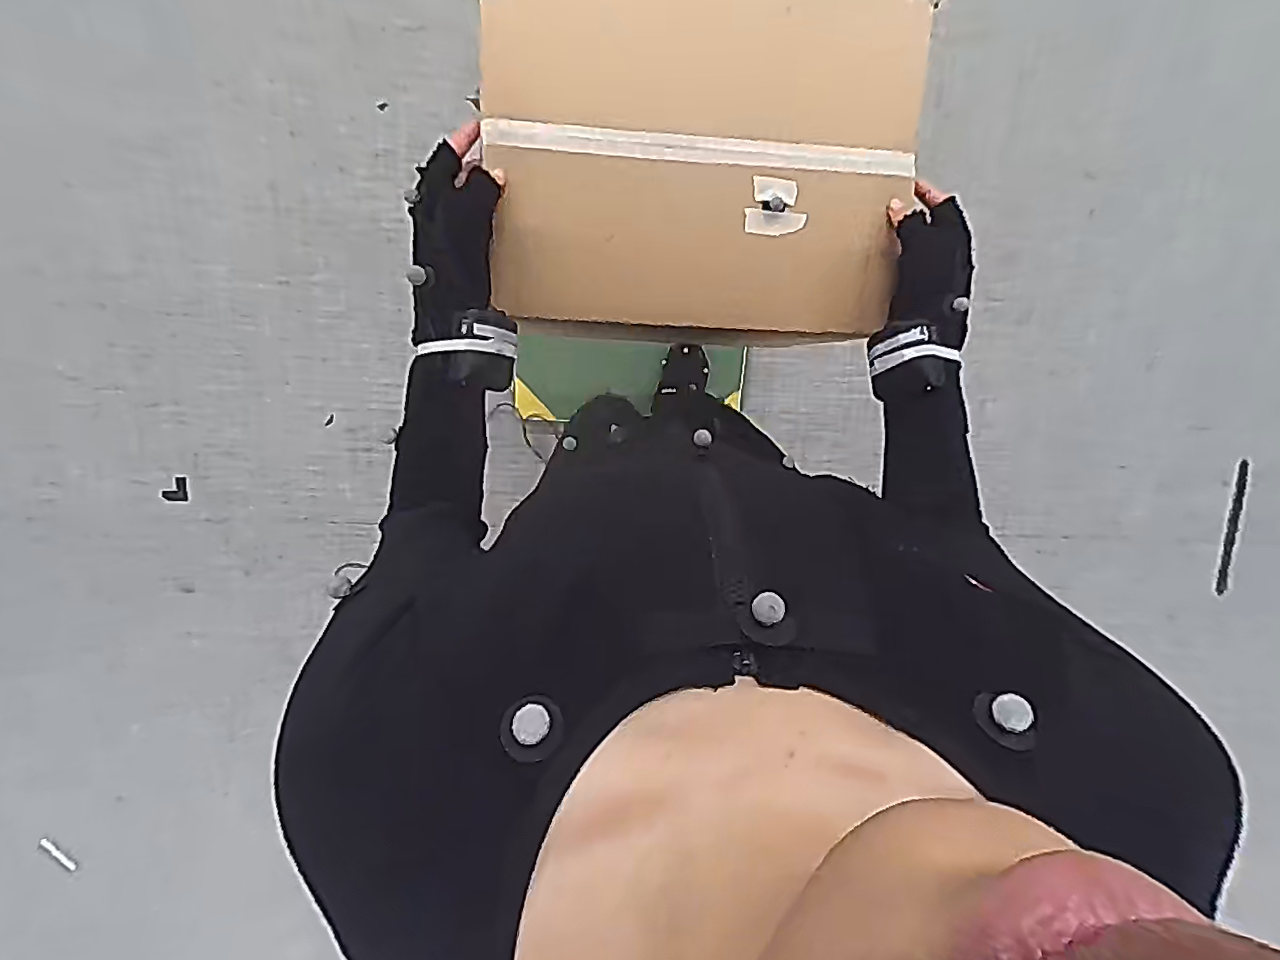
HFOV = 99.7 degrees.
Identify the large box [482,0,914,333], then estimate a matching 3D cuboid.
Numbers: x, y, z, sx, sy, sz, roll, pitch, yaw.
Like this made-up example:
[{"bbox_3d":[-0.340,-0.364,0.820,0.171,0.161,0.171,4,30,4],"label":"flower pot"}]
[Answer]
[{"bbox_3d":[0.041,-0.349,0.655,0.408,0.320,0.320,0,102,-7],"label":"large box"}]
